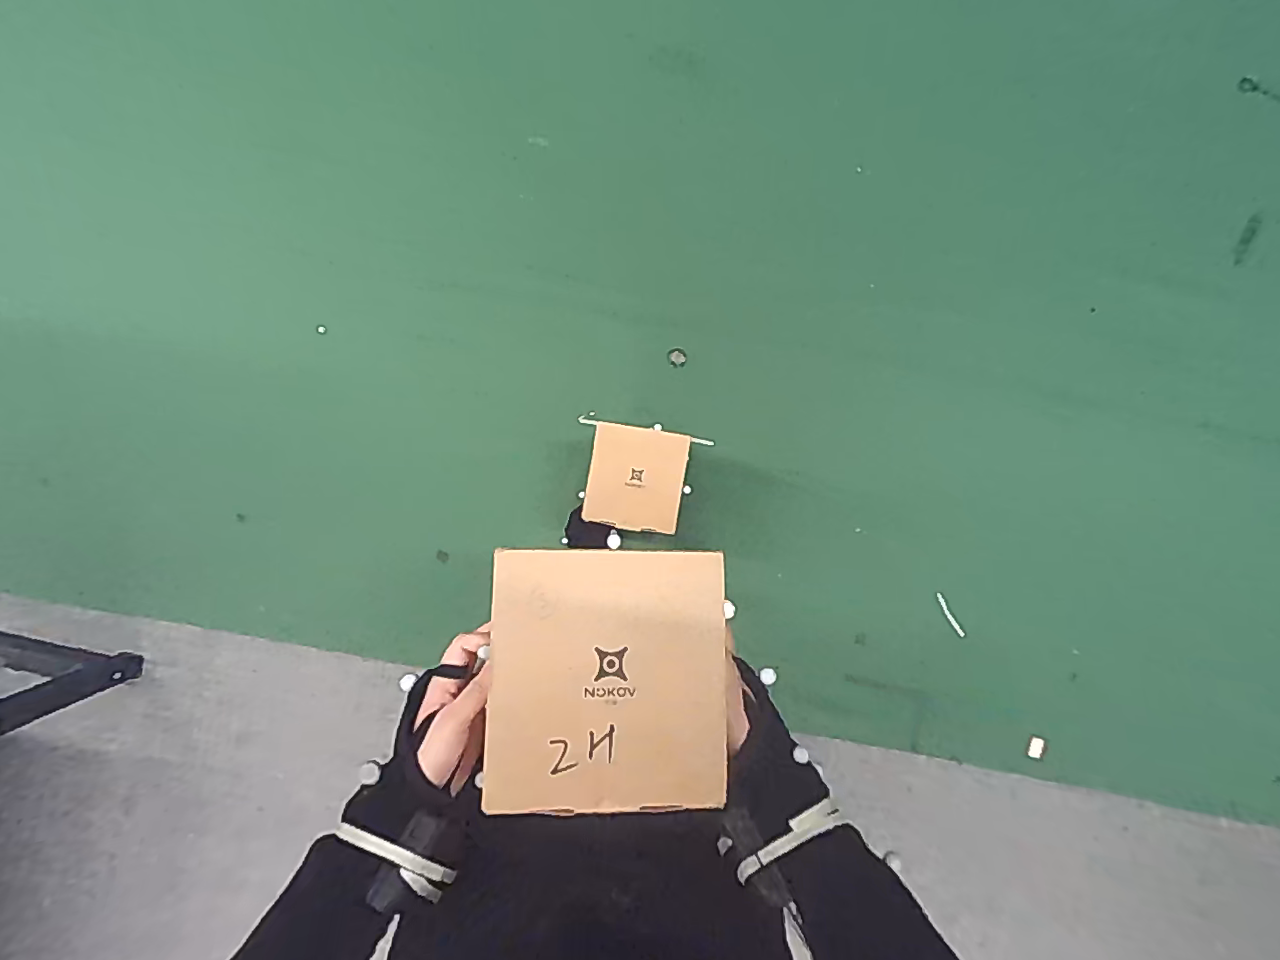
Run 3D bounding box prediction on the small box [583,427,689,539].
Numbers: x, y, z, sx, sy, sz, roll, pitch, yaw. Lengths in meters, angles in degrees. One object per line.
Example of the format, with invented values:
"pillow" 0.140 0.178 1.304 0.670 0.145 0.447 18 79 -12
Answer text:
"small box" -0.006 0.003 1.016 0.168 0.176 0.179 8 93 2
